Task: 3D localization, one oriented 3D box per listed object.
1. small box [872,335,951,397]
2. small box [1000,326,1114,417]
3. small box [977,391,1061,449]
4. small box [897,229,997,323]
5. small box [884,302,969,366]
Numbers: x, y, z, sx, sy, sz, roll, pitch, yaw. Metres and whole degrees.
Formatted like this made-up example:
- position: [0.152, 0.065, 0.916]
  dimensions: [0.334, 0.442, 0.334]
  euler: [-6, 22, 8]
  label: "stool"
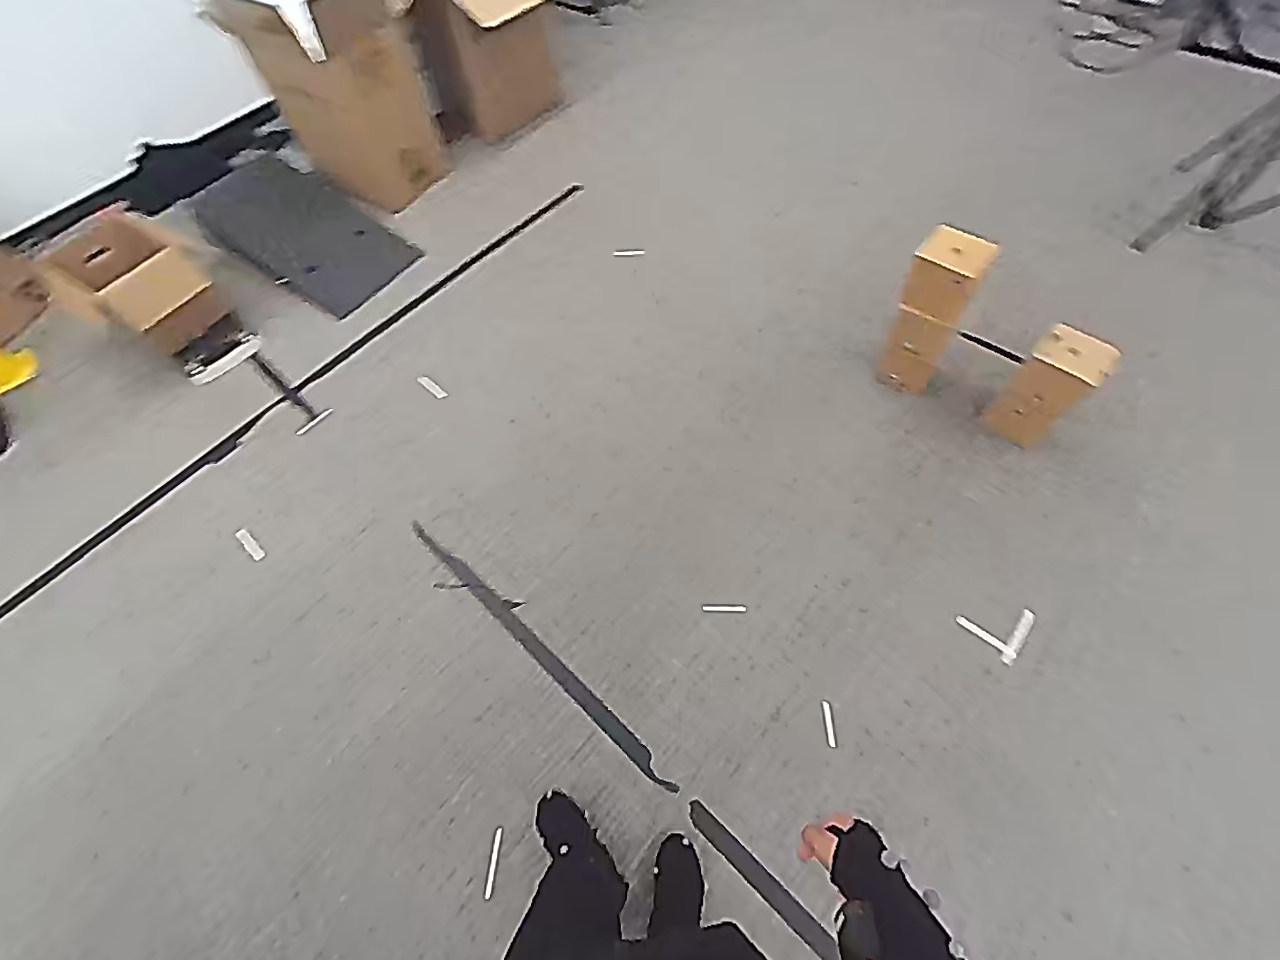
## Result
- position: [0.931, -0.423, 1.871]
  dimensions: [0.168, 0.176, 0.179]
  euler: [30, 68, 20]
  label: "small box"
- position: [1.220, -0.310, 1.594]
  dimensions: [0.179, 0.176, 0.168]
  euler: [39, 70, 22]
  label: "small box"
- position: [1.232, -0.230, 1.737]
  dimensions: [0.179, 0.176, 0.168]
  euler: [38, 71, 21]
  label: "small box"
- position: [0.895, -0.597, 1.597]
  dimensions: [0.179, 0.176, 0.168]
  euler: [37, 70, 23]
  label: "small box"
- position: [0.910, -0.503, 1.730]
  dimensions: [0.168, 0.176, 0.179]
  euler: [32, 69, 21]
  label: "small box"
